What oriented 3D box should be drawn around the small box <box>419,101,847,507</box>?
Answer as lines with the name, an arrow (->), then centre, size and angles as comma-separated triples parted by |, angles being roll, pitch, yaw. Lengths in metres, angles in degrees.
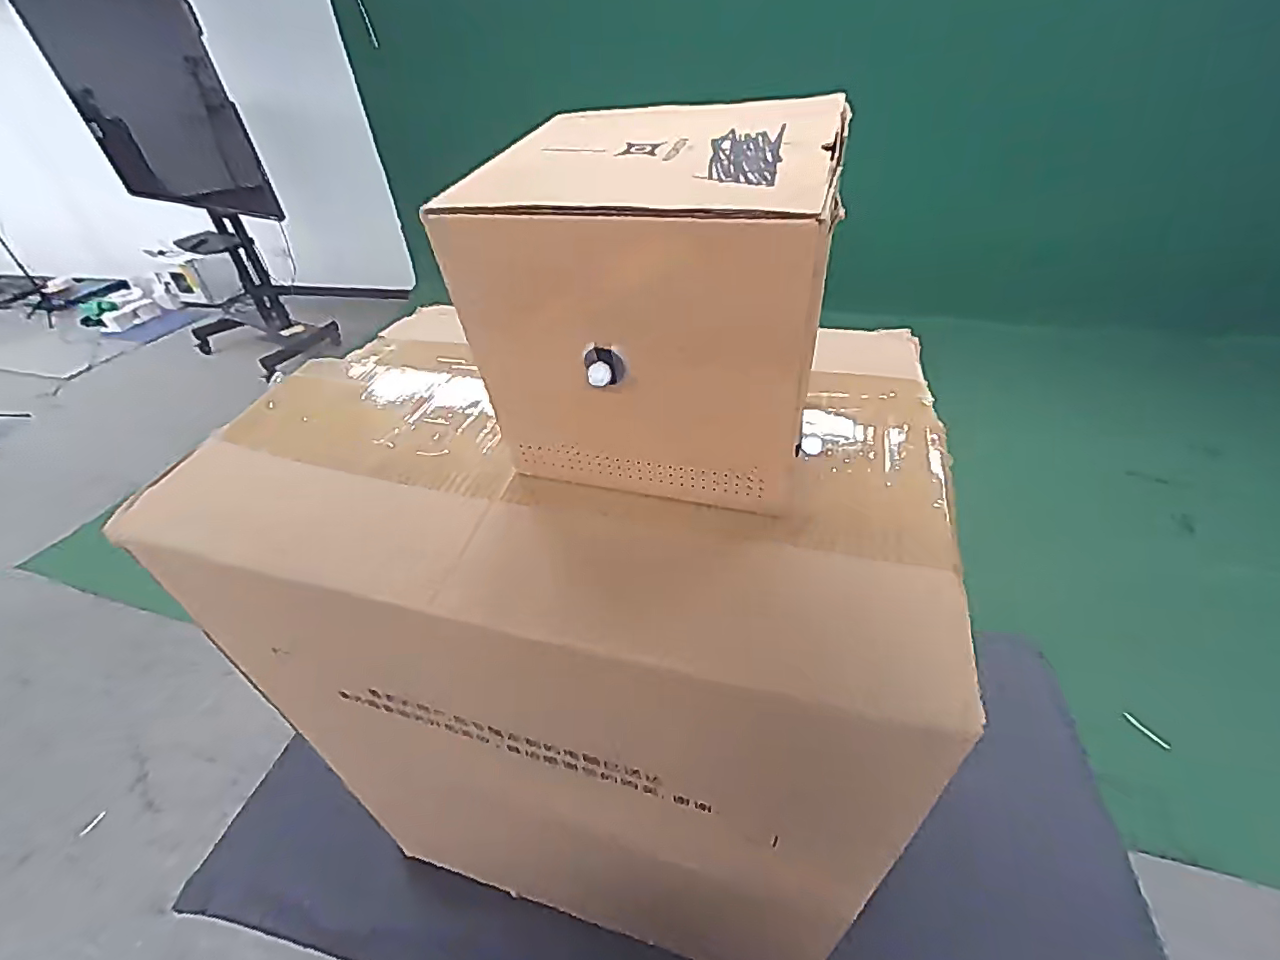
small box -> 0.014, -0.103, 0.325 | 0.179, 0.176, 0.168 | 9, 48, 17
